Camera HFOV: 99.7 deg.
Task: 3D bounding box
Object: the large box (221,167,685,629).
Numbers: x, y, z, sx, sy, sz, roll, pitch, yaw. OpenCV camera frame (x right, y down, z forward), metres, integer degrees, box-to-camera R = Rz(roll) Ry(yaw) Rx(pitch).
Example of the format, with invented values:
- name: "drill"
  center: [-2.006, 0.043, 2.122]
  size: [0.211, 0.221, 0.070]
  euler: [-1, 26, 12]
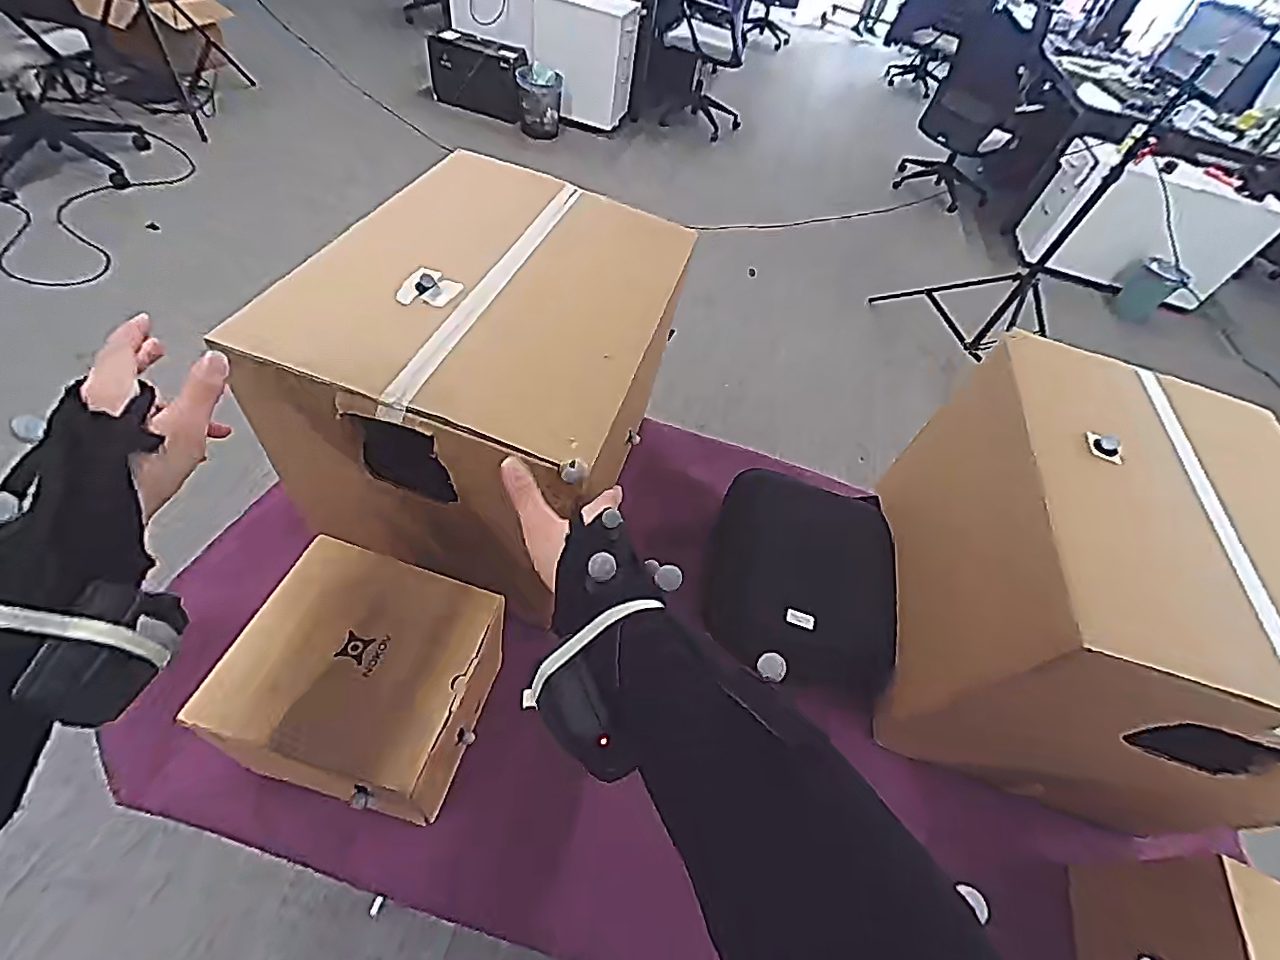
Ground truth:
- name: "large box"
  center: [-0.166, -0.098, 0.658]
  size: [0.320, 0.320, 0.408]
  euler: [19, 53, 1]
